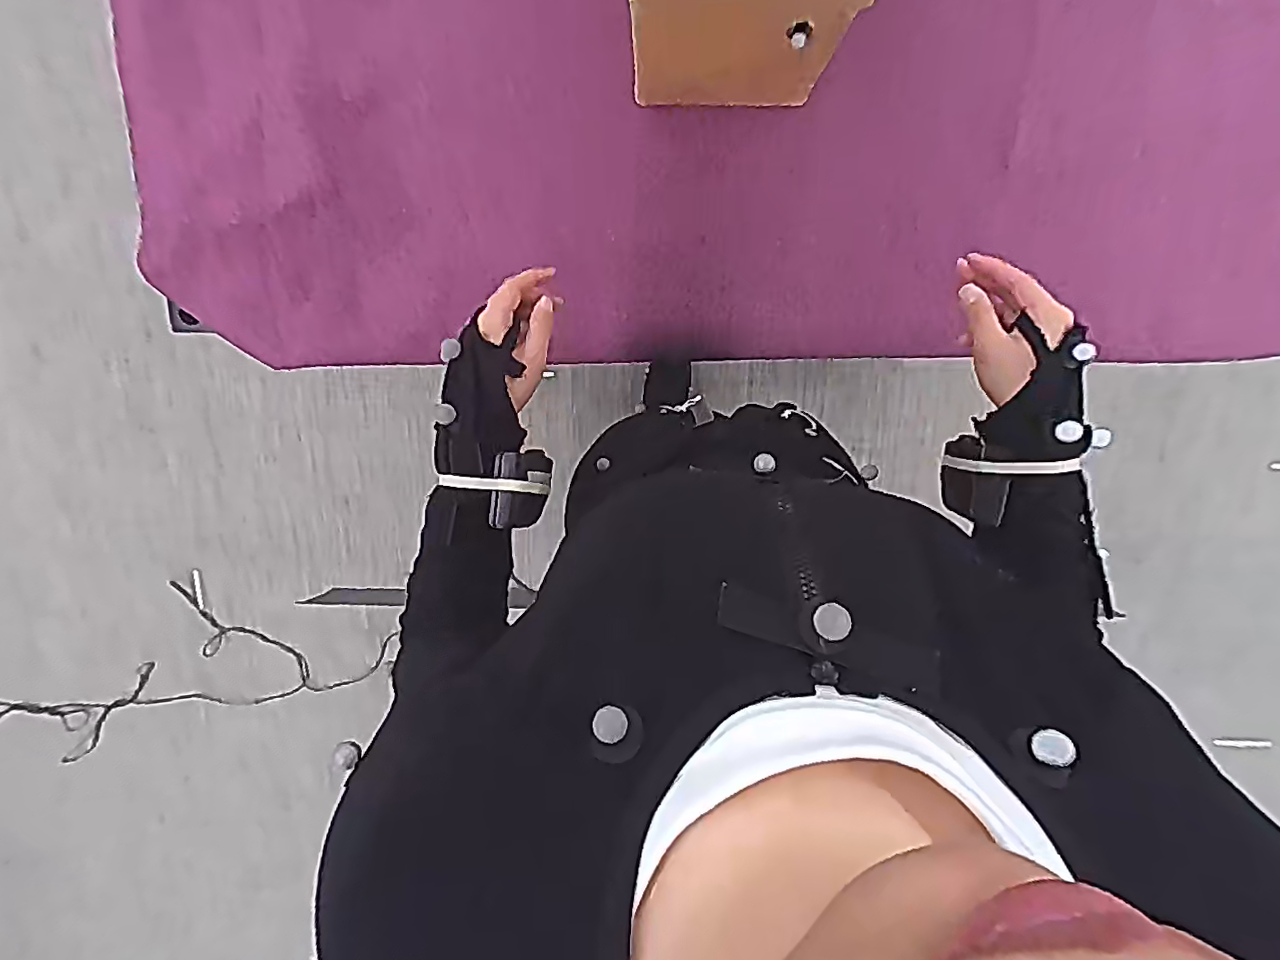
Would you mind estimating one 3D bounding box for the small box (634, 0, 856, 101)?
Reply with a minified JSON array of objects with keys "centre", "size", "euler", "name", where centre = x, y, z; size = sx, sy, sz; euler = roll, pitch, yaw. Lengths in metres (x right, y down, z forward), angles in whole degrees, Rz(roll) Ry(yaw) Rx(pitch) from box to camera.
[{"centre":[0.082,-0.448,0.456],"size":[0.179,0.176,0.168],"euler":[0,102,0],"name":"small box"}]
